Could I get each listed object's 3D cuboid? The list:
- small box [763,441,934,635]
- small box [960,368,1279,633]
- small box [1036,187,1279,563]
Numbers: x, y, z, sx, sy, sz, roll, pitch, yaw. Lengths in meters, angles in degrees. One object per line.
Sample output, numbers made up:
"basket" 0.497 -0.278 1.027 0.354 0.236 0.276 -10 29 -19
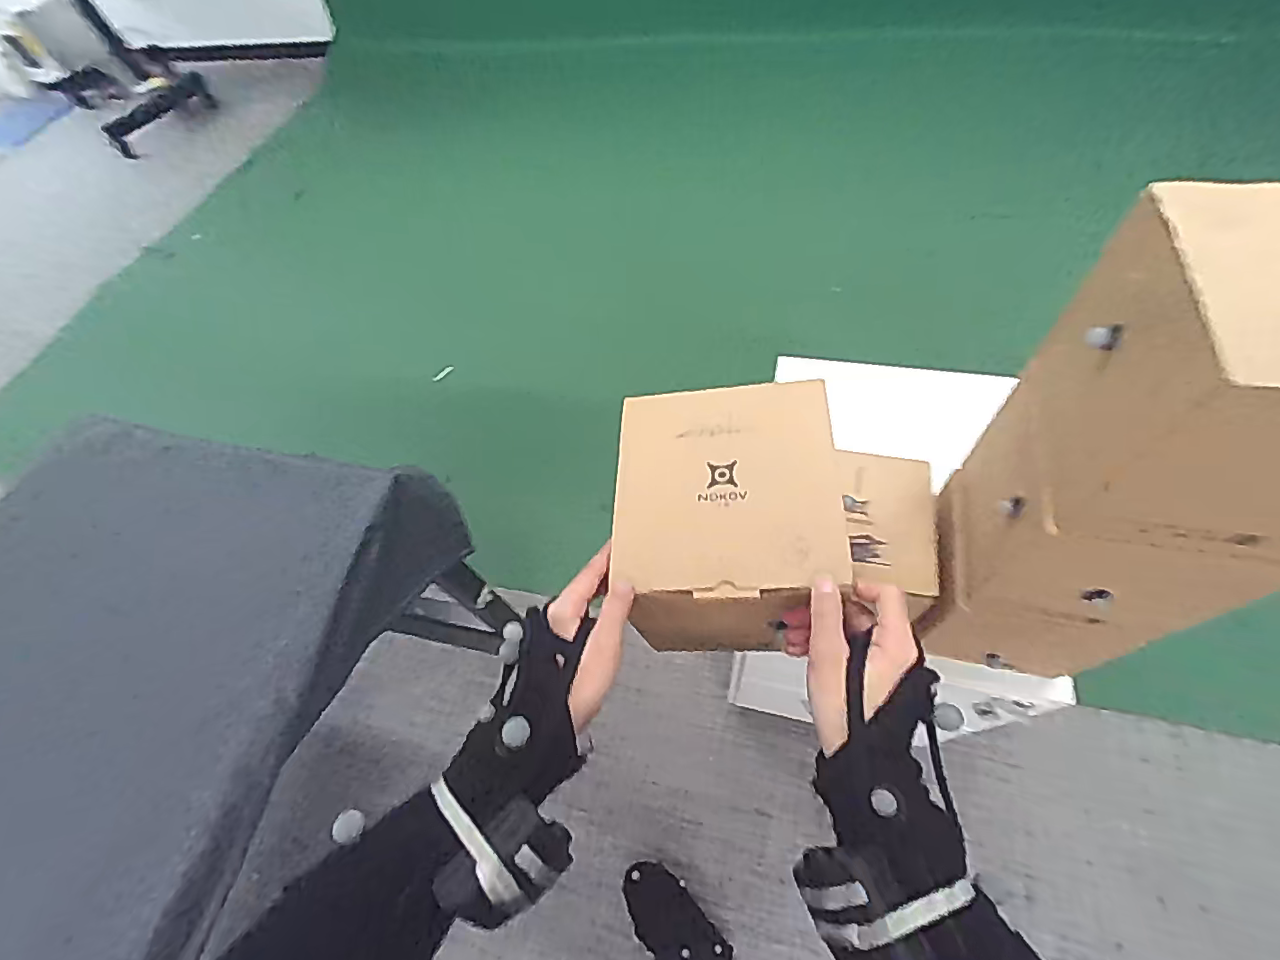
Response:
"small box" 0.254 0.078 0.682 0.168 0.176 0.179 10 60 12
"small box" 0.417 0.025 0.501 0.168 0.176 0.179 10 60 13
"small box" 0.404 -0.066 0.365 0.168 0.176 0.179 8 59 13
